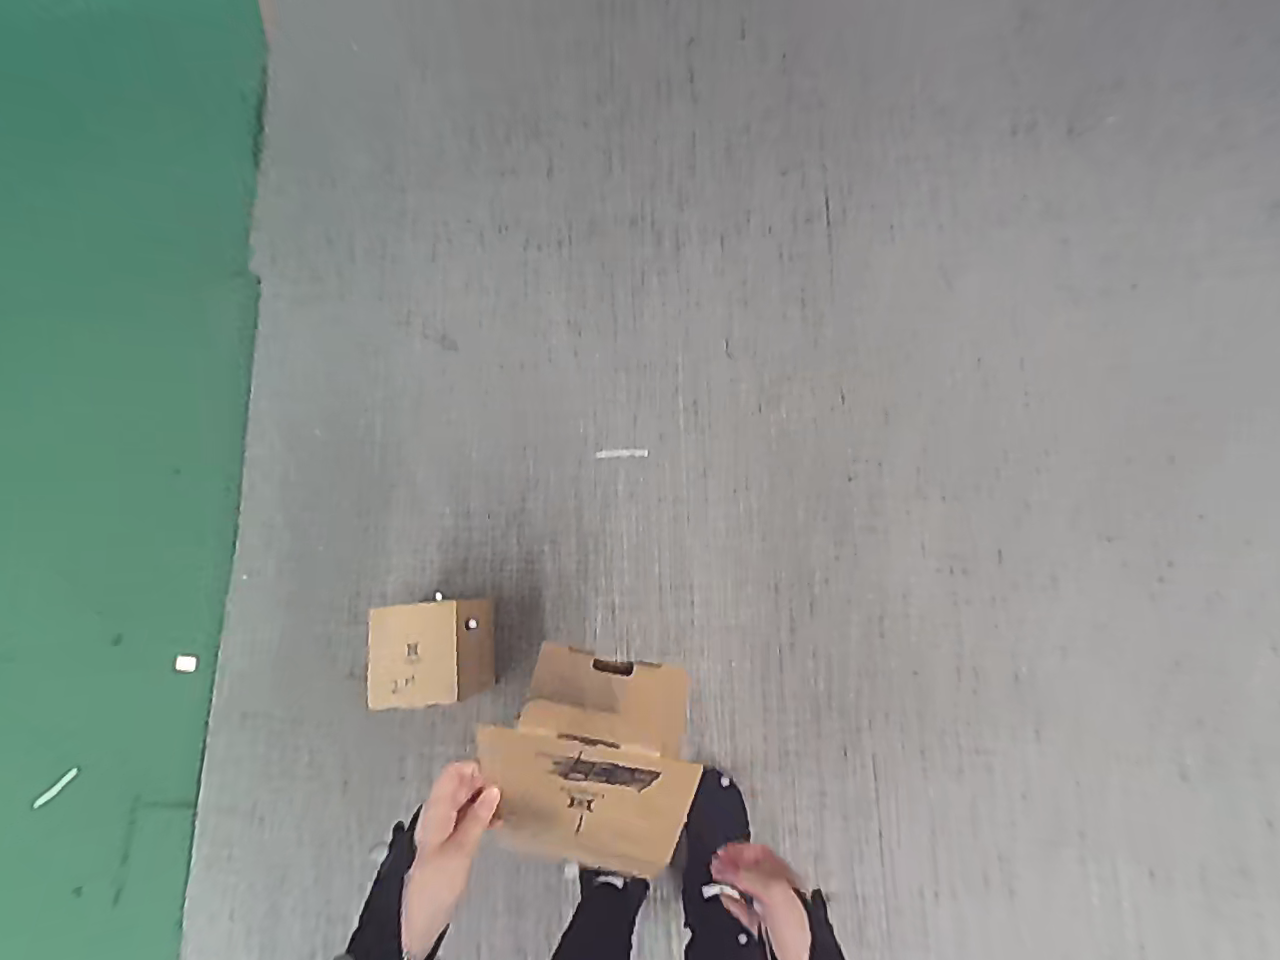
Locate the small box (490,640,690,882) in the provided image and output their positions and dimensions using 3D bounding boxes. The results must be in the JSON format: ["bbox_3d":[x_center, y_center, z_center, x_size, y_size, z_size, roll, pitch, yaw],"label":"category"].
[{"bbox_3d":[-0.046,0.301,0.577,0.168,0.176,0.179,9,48,2],"label":"small box"}]

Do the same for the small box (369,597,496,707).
[{"bbox_3d":[-0.379,0.314,1.011,0.168,0.176,0.179,-6,78,6],"label":"small box"}]
